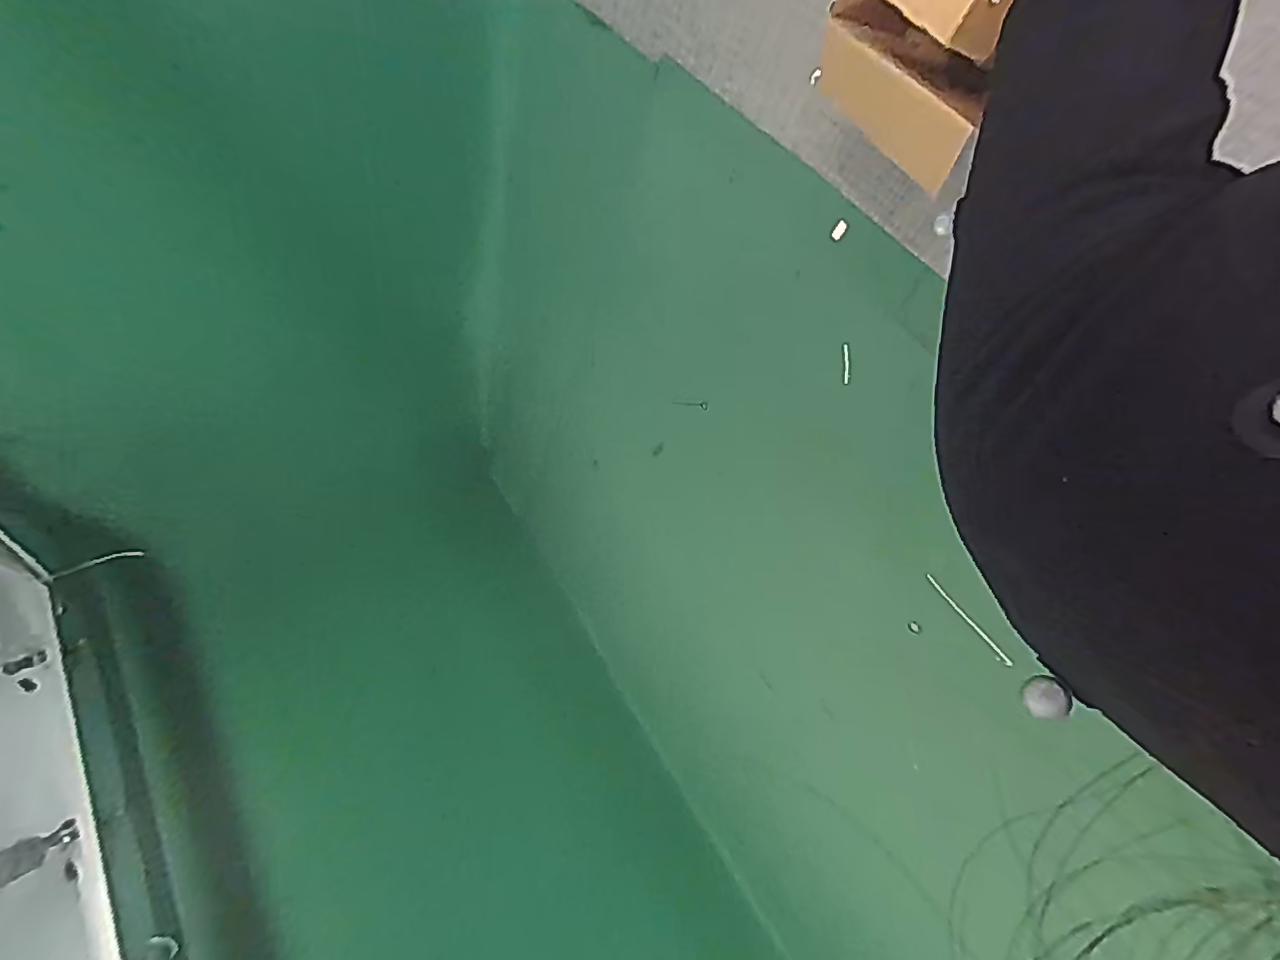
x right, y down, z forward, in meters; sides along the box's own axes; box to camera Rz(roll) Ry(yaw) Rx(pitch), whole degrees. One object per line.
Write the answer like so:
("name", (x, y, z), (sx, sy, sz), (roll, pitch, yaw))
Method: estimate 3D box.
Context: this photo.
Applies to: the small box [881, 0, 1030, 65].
("small box", (0.571, -0.870, 0.940), (0.168, 0.176, 0.179), (56, 143, 18))
